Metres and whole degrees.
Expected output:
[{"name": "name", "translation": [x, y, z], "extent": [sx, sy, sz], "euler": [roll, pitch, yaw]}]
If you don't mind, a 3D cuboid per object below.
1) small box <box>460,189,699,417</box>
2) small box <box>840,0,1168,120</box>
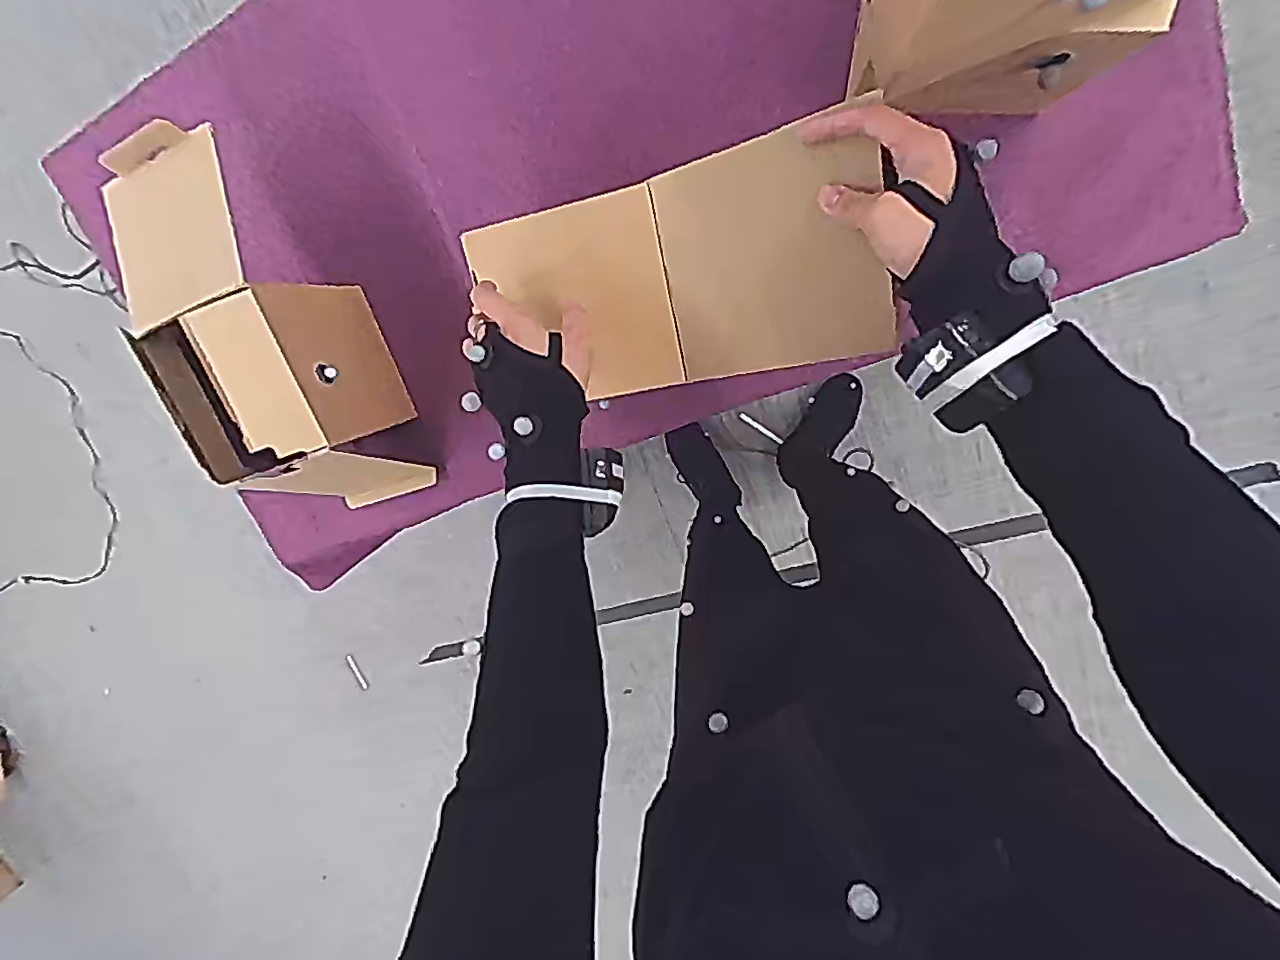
[{"name": "small box", "translation": [-0.045, -0.170, 0.548], "extent": [0.179, 0.176, 0.168], "euler": [-8, 107, 14]}, {"name": "small box", "translation": [0.265, -0.390, 0.405], "extent": [0.179, 0.176, 0.168], "euler": [8, 109, 10]}]
